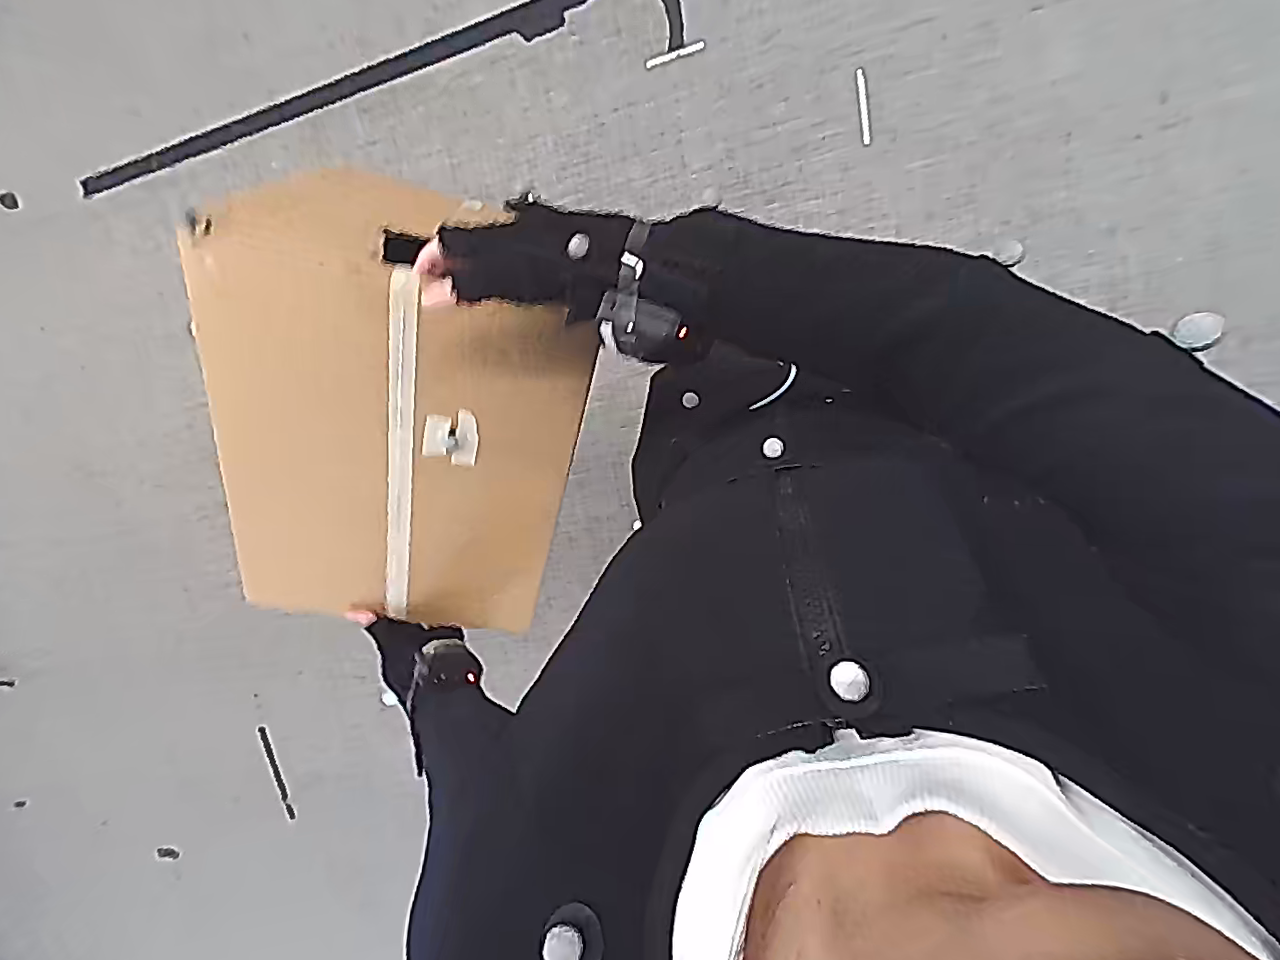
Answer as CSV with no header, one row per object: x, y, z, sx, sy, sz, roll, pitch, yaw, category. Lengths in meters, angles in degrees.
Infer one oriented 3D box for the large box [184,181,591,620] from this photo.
-0.246,-0.090,0.655,0.320,0.320,0.408,8,123,-13,large box
